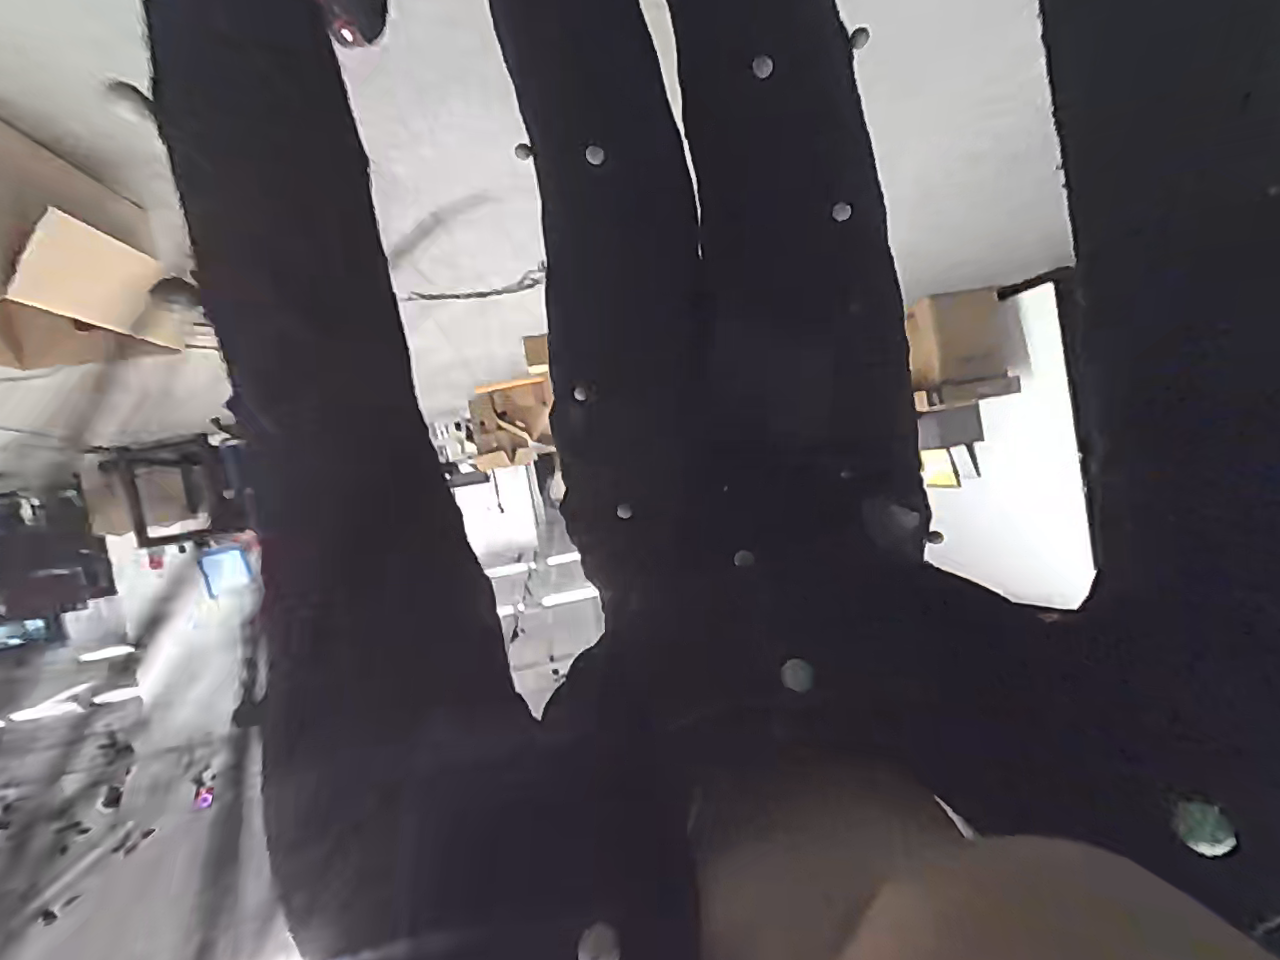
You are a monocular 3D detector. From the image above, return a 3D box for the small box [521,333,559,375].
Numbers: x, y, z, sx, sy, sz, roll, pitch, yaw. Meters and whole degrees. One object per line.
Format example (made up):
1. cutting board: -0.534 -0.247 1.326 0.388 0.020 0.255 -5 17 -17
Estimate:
1. small box: -0.533 -0.673 2.880 0.179 0.176 0.168 -11 -178 -7
